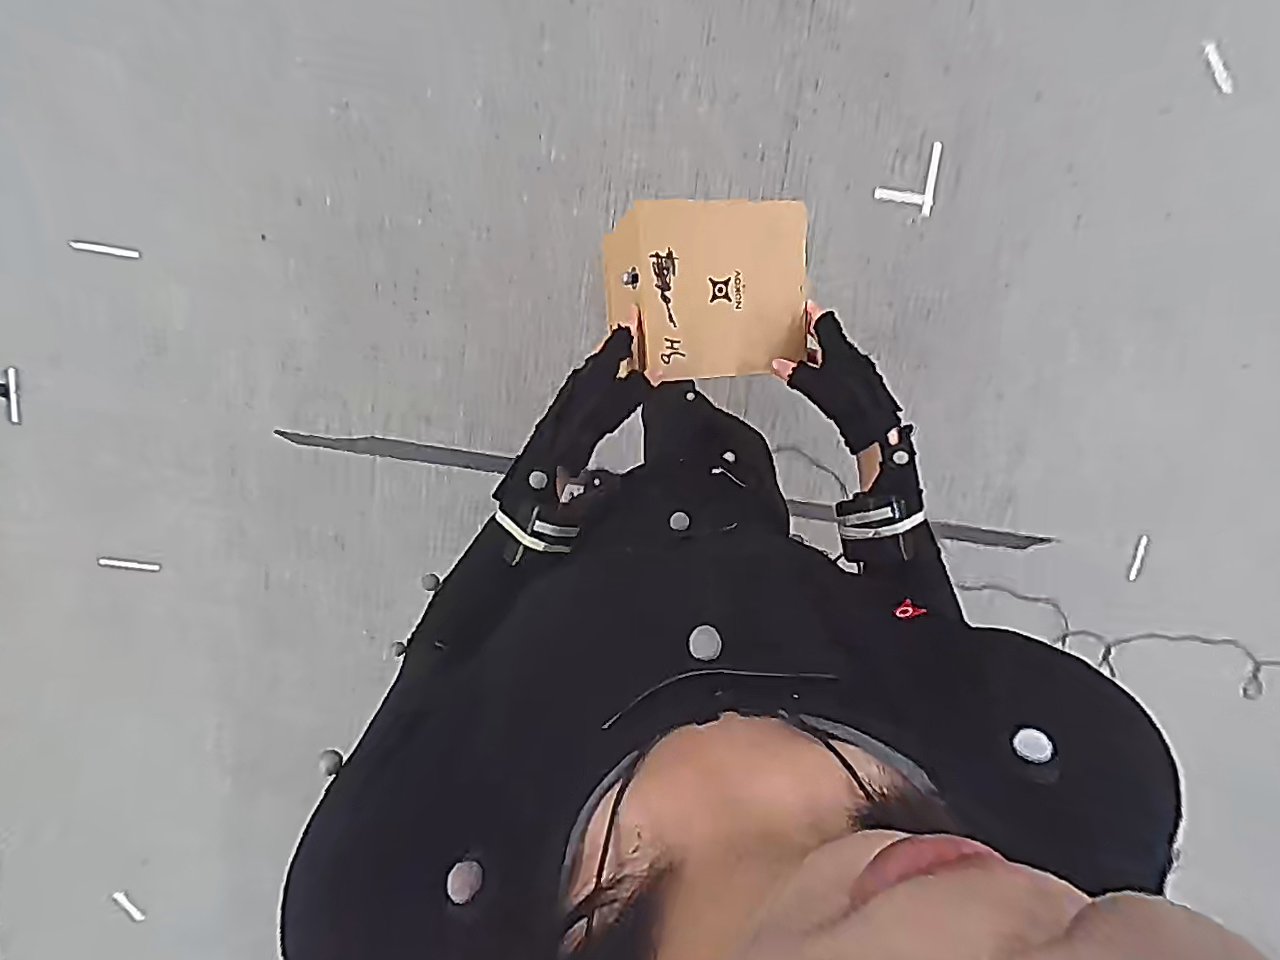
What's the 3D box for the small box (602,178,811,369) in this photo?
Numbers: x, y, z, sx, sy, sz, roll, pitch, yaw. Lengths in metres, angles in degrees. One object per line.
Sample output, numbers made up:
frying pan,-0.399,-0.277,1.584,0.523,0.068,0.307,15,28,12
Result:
small box,0.065,-0.210,0.590,0.179,0.176,0.168,-7,101,-14
